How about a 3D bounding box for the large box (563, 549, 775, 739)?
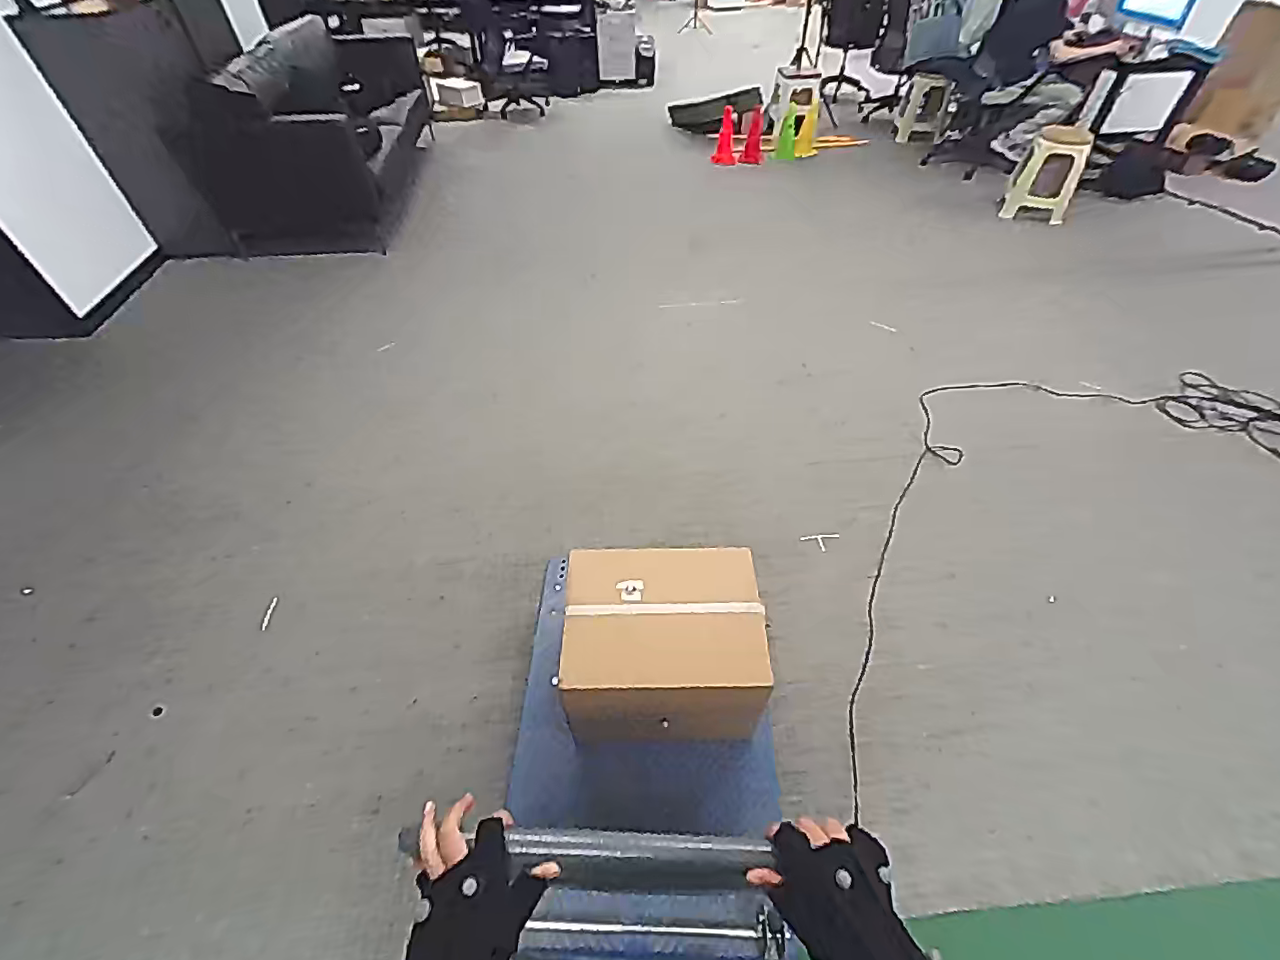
[{"bbox_3d":[0.057,0.372,1.216,0.408,0.320,0.320,-1,46,1],"label":"large box"}]
